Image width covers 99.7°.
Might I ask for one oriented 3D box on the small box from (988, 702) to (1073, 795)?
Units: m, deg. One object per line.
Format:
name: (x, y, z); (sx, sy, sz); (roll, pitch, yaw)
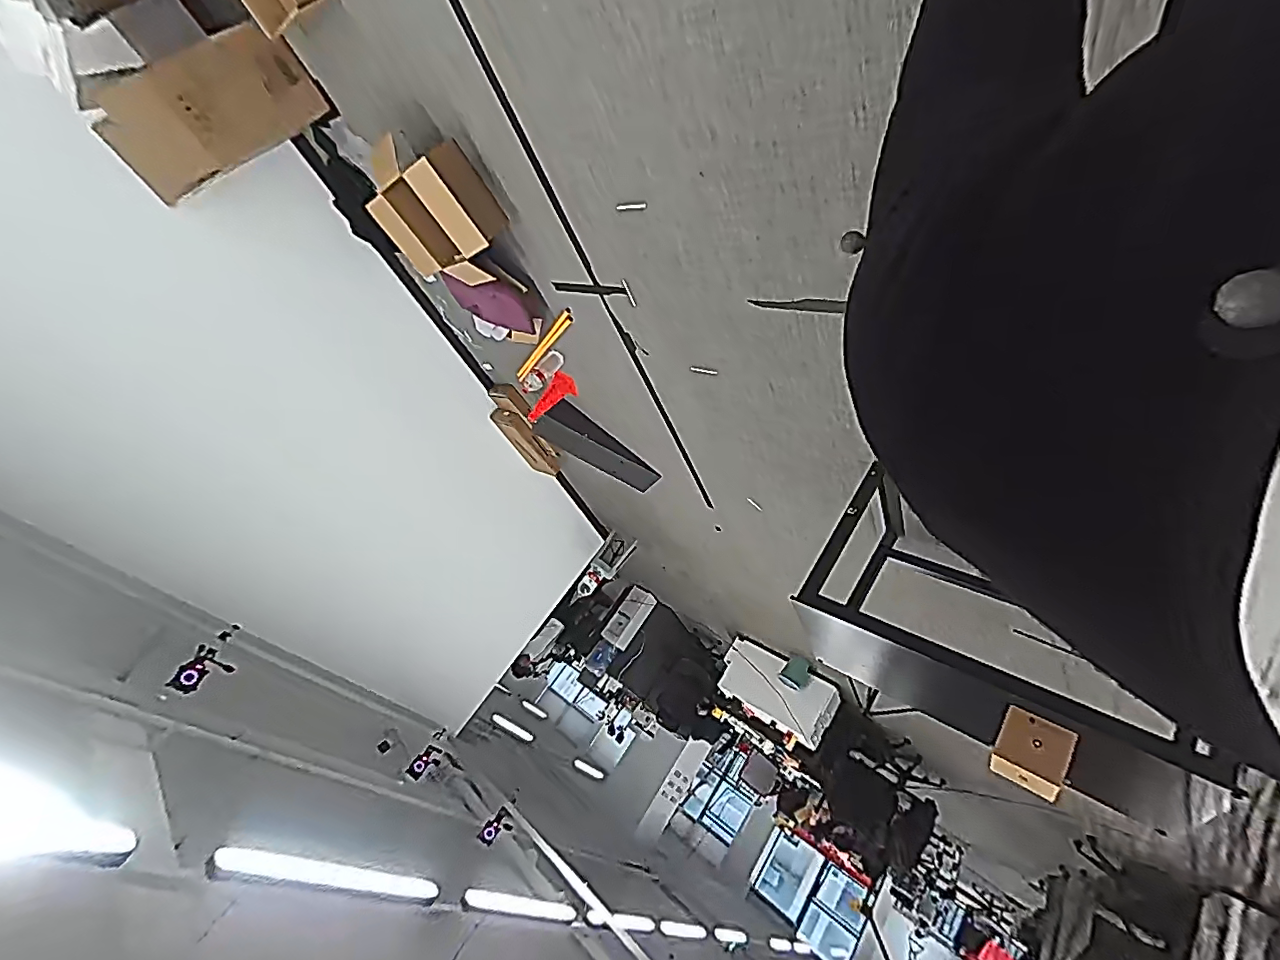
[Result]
small box: (1.167, 0.797, 1.618); (0.168, 0.176, 0.179); (20, 154, 40)
